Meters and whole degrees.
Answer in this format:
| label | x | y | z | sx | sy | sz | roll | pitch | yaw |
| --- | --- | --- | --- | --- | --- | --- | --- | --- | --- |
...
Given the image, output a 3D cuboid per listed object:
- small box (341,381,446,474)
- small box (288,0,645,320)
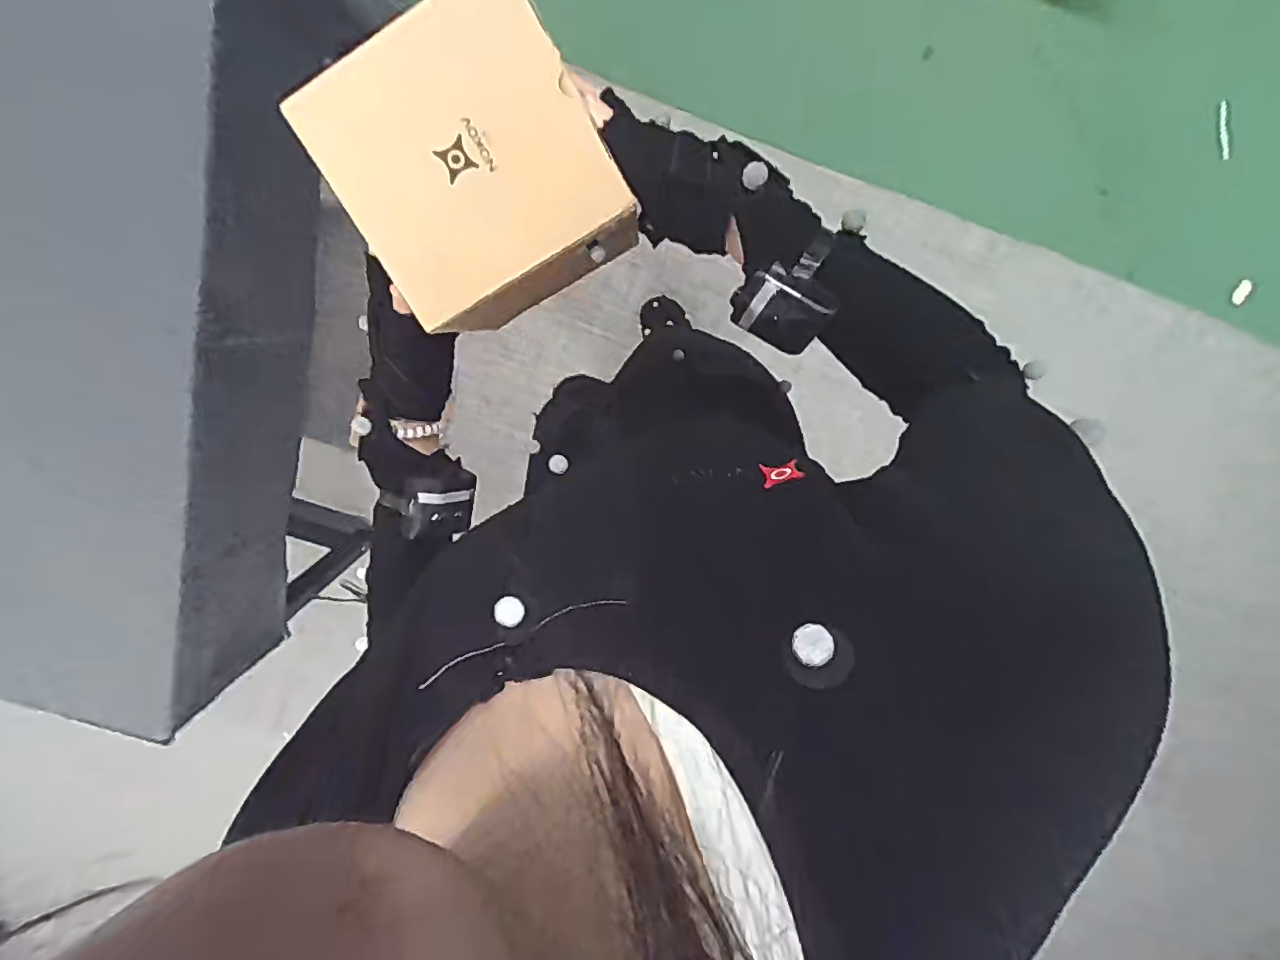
| label | x | y | z | sx | sy | sz | roll | pitch | yaw |
| --- | --- | --- | --- | --- | --- | --- | --- | --- | --- |
| small box | -0.622 | -0.141 | 1.386 | 0.179 | 0.176 | 0.168 | 22 | 108 | -6 |
| small box | -0.108 | -0.237 | 0.421 | 0.179 | 0.176 | 0.168 | -28 | 104 | 6 |
